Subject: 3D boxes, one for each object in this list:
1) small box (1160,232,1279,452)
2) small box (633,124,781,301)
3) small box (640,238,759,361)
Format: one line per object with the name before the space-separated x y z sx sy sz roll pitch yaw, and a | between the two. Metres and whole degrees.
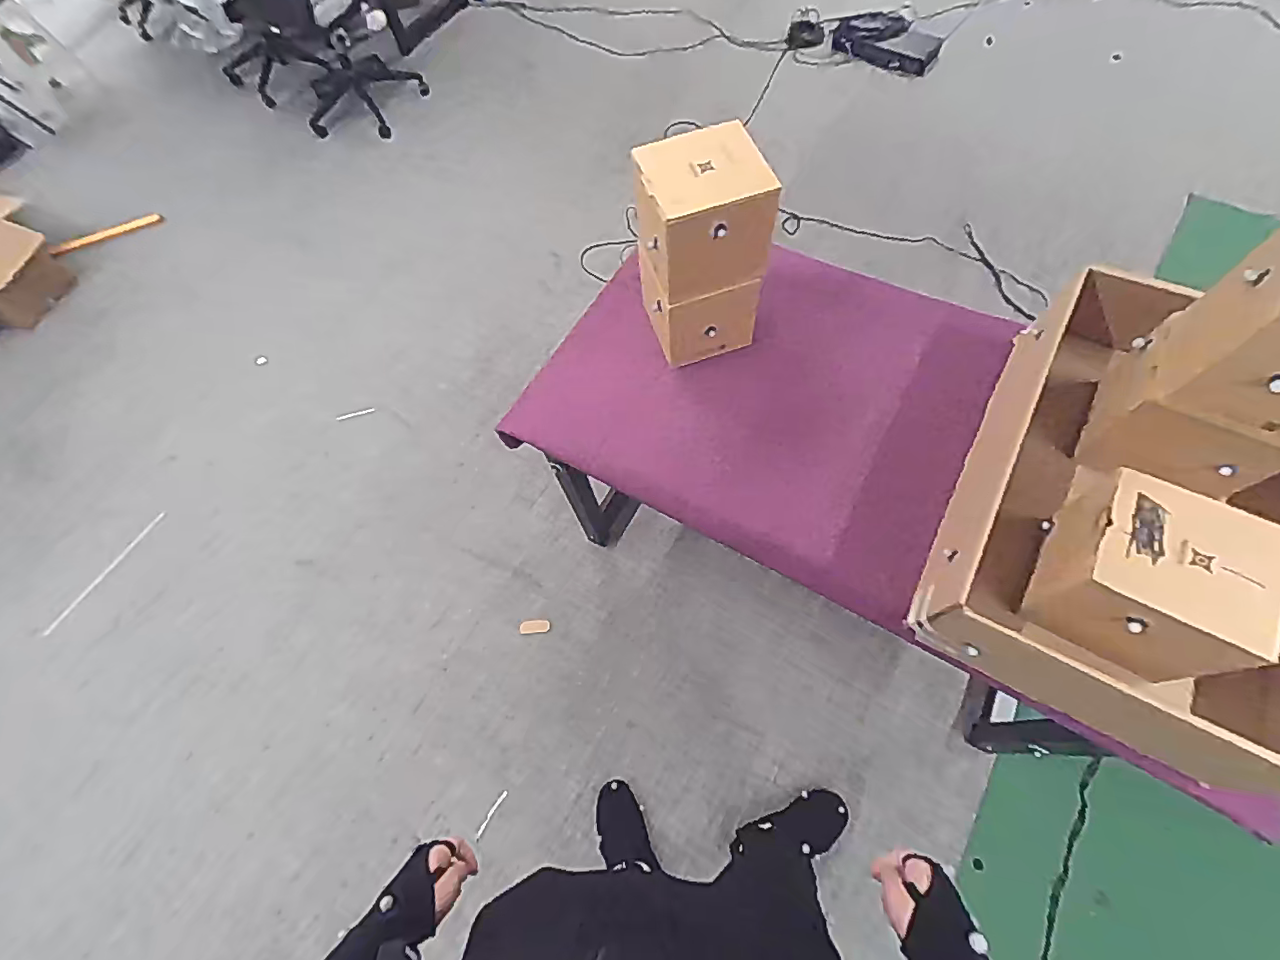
small box | 0.754 -0.154 0.613 0.168 0.176 0.179 29 71 18
small box | 0.100 -0.413 0.854 0.179 0.176 0.168 -17 66 -4
small box | 0.106 -0.342 1.001 0.168 0.176 0.179 -17 64 -4
